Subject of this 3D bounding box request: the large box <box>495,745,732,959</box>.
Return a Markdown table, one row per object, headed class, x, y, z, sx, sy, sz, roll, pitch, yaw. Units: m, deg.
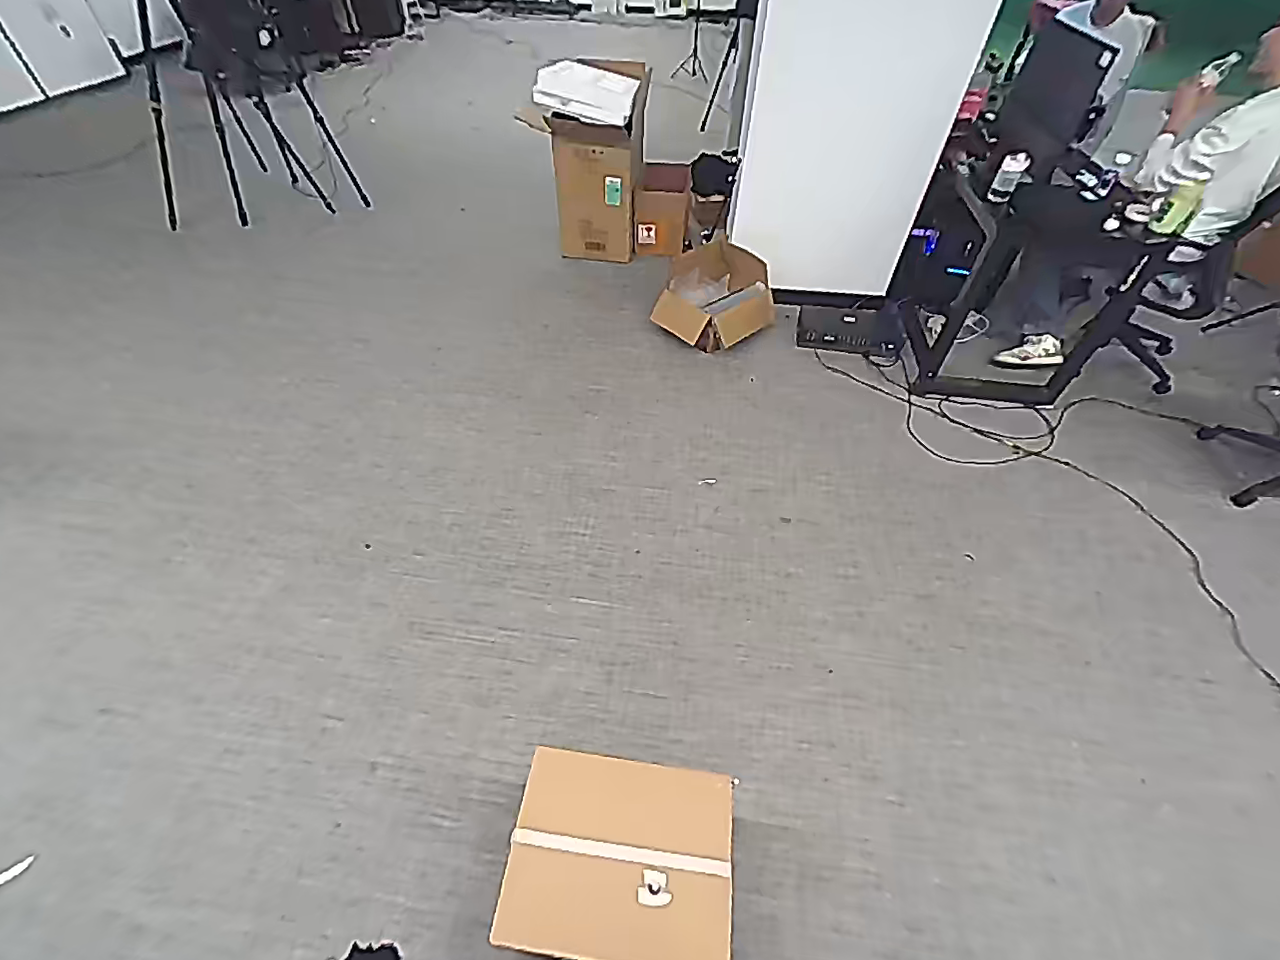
| class | x | y | z | sx | sy | sz | roll | pitch | yaw |
| --- | --- | --- | --- | --- | --- | --- | --- | --- | --- |
| large box | -0.038 | 0.776 | 1.102 | 0.408 | 0.320 | 0.320 | 7 | 49 | 4 |
